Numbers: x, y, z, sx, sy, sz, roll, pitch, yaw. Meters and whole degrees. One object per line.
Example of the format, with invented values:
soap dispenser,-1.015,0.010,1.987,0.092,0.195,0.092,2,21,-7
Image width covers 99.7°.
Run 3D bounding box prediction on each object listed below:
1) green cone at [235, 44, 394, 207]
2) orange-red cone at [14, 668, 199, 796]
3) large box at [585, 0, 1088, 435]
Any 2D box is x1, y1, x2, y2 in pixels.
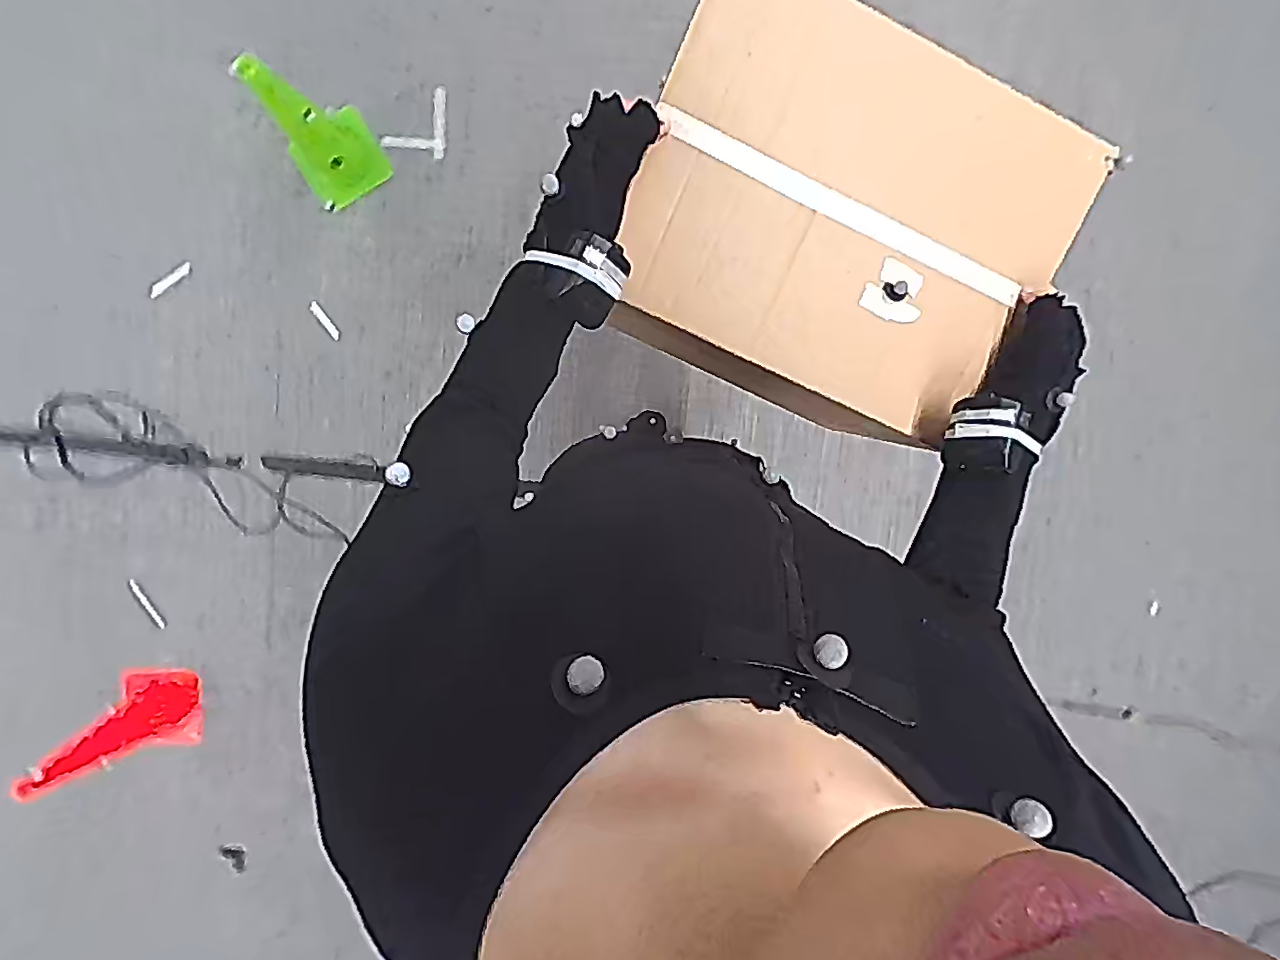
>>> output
green cone,-0.747,-0.811,1.200,0.200,0.368,0.202,-32,94,0
orange-red cone,-1.292,0.623,1.299,0.199,0.360,0.198,3,96,-4
large box,0.174,-0.277,0.650,0.408,0.320,0.320,22,98,-7
